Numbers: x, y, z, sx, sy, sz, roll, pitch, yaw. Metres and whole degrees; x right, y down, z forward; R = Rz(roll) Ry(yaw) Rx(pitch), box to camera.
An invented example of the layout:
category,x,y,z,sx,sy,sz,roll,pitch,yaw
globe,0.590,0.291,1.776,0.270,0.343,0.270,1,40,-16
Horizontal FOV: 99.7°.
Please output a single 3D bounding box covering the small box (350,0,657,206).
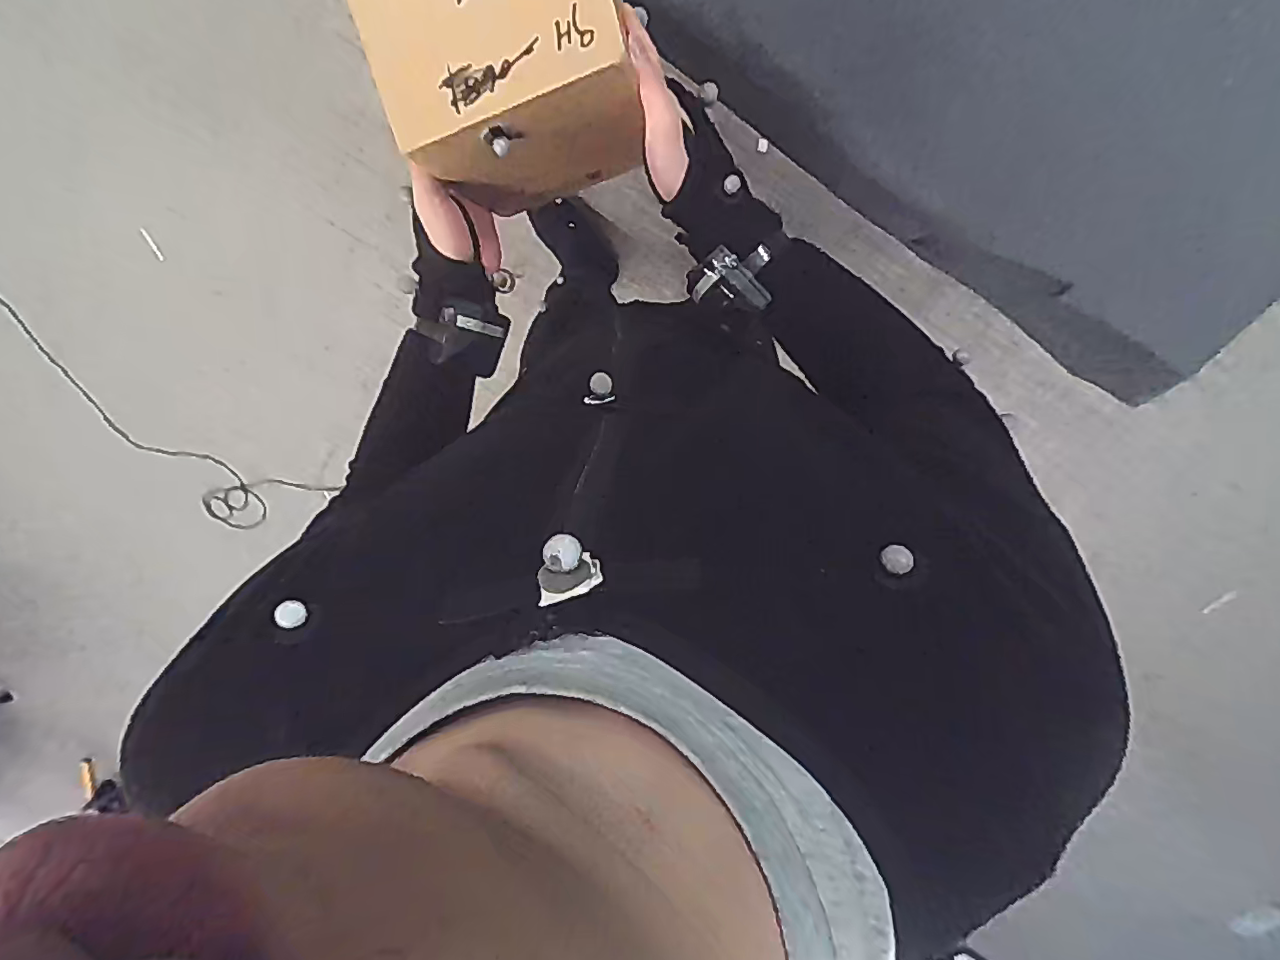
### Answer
category,x,y,z,sx,sy,sz,roll,pitch,yaw
small box,-0.094,-0.339,0.406,0.168,0.176,0.179,-13,99,13
